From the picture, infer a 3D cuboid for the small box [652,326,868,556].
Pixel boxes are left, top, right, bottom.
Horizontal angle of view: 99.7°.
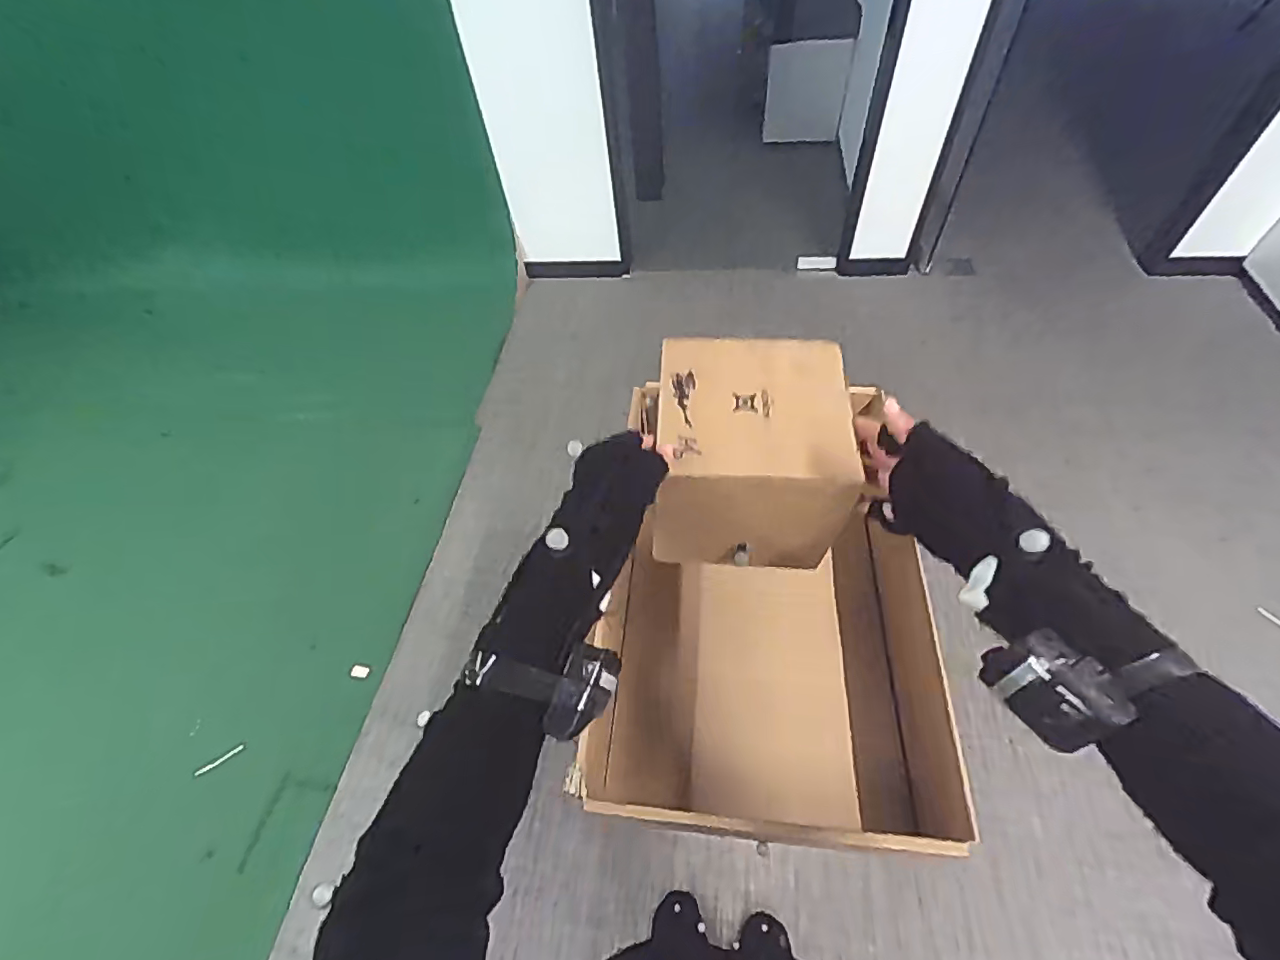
[{"bbox_3d":[0.105,-0.032,0.548,0.179,0.176,0.168,3,57,3],"label":"small box"}]
